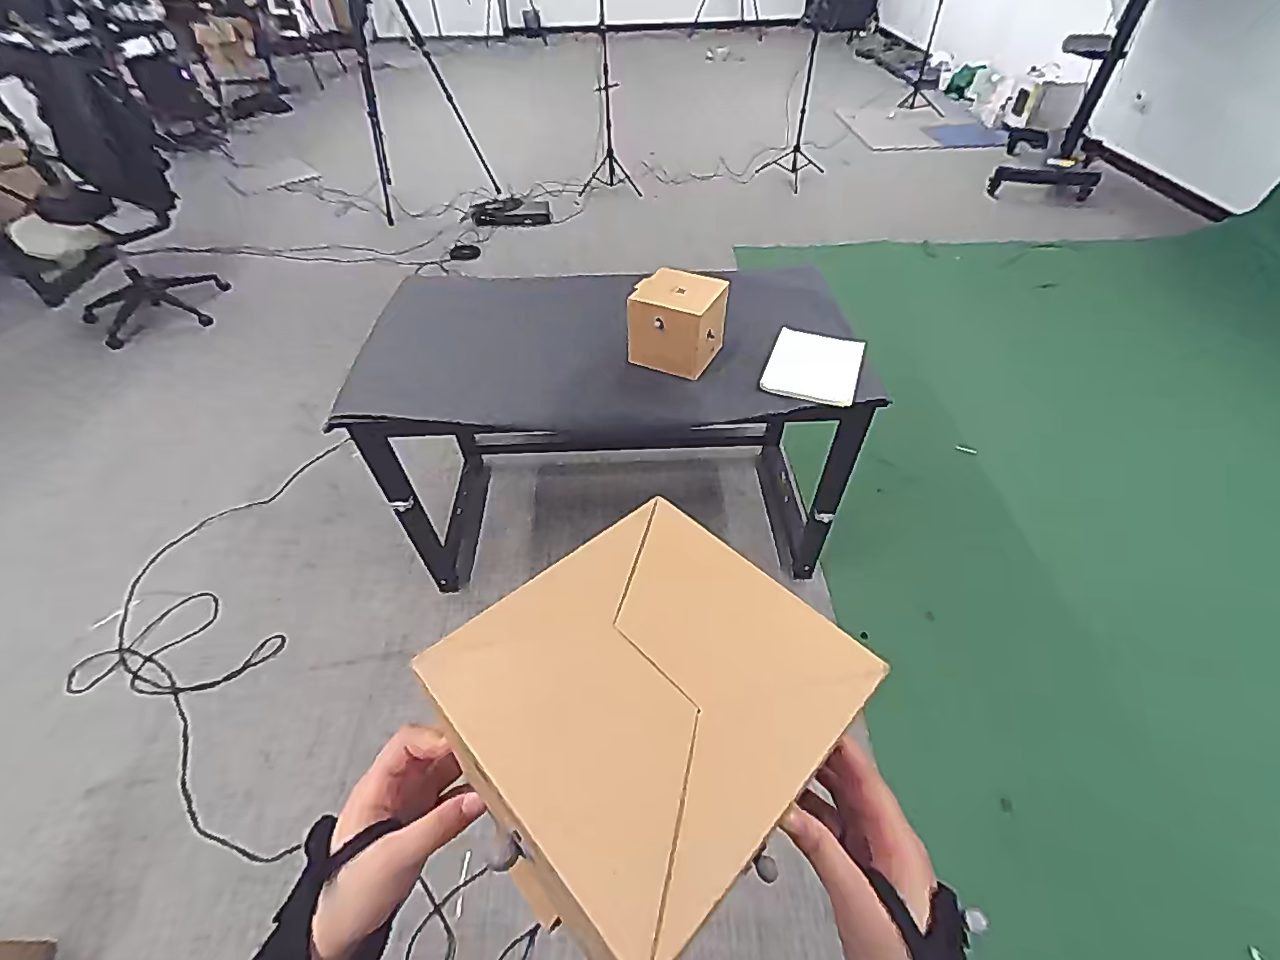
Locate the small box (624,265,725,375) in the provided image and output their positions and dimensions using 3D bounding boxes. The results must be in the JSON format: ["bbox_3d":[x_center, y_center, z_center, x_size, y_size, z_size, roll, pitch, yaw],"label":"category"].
[{"bbox_3d":[0.080,-0.363,1.238,0.179,0.176,0.168,20,51,19],"label":"small box"}]

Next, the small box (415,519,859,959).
[{"bbox_3d":[-0.001,0.148,0.322,0.179,0.176,0.168,-32,53,-32],"label":"small box"}]
